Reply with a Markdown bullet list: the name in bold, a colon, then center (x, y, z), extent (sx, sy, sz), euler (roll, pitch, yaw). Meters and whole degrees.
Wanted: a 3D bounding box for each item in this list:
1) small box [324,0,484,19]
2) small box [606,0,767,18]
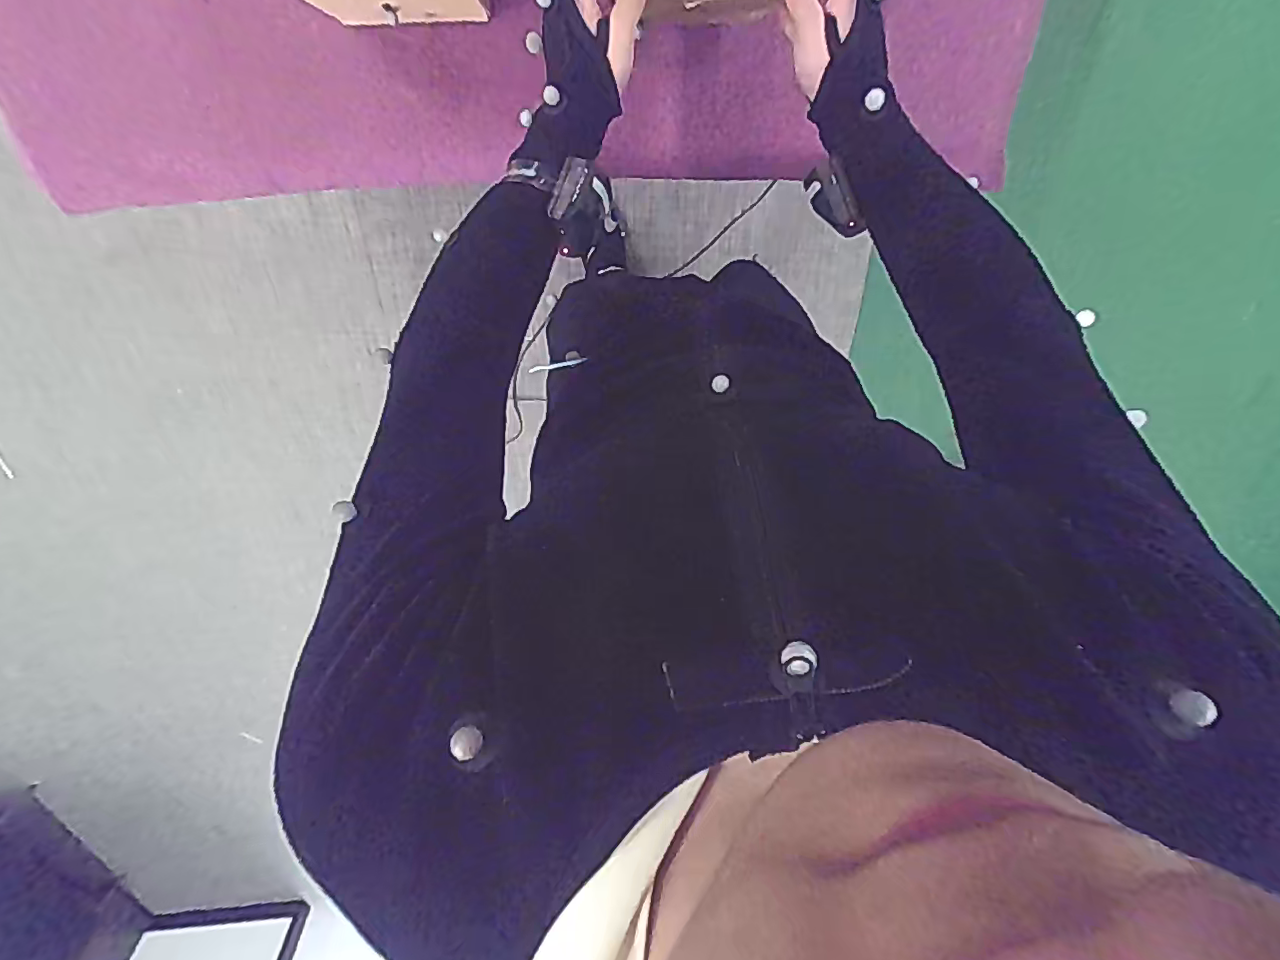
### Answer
- **small box**: center (-0.248, -0.550, 0.490), extent (0.168, 0.176, 0.179), euler (-5, 122, -3)
- **small box**: center (0.048, -0.533, 0.480), extent (0.168, 0.176, 0.179), euler (-5, 123, -5)
